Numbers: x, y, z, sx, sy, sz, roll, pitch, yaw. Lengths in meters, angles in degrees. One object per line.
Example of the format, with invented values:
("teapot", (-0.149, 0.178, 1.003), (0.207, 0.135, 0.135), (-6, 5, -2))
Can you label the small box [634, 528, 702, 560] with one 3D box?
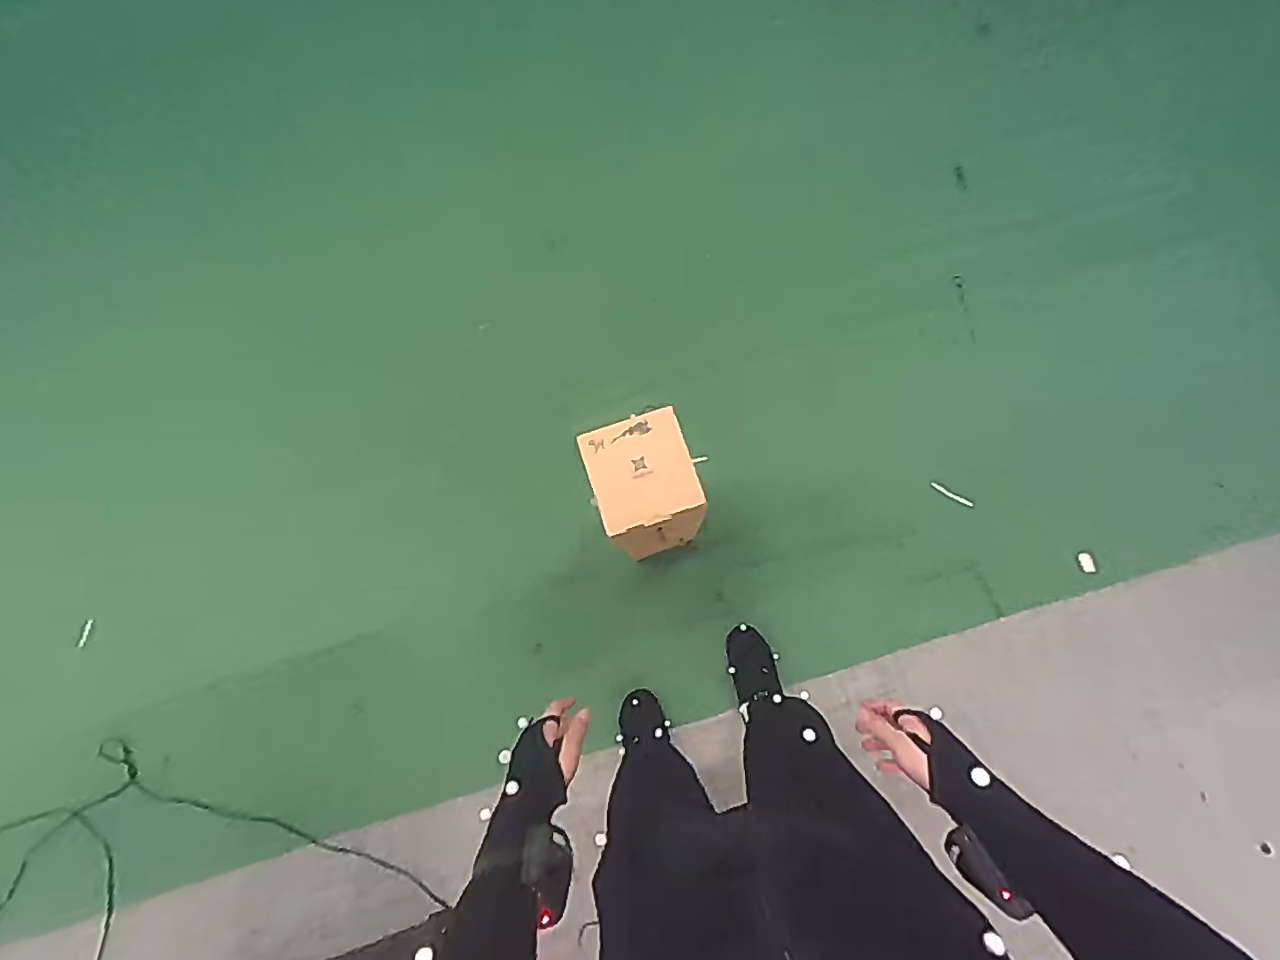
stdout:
("small box", (0.047, 0.101, 1.414), (0.179, 0.176, 0.168), (-21, 76, -3))

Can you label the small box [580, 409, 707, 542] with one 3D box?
("small box", (0.009, 0.003, 0.935), (0.168, 0.176, 0.179), (-18, 77, -1))

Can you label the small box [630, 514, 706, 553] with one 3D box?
("small box", (0.040, 0.062, 1.256), (0.179, 0.176, 0.168), (-19, 76, -2))

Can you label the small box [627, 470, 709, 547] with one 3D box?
("small box", (0.027, 0.027, 1.097), (0.179, 0.176, 0.168), (-21, 77, -3))
